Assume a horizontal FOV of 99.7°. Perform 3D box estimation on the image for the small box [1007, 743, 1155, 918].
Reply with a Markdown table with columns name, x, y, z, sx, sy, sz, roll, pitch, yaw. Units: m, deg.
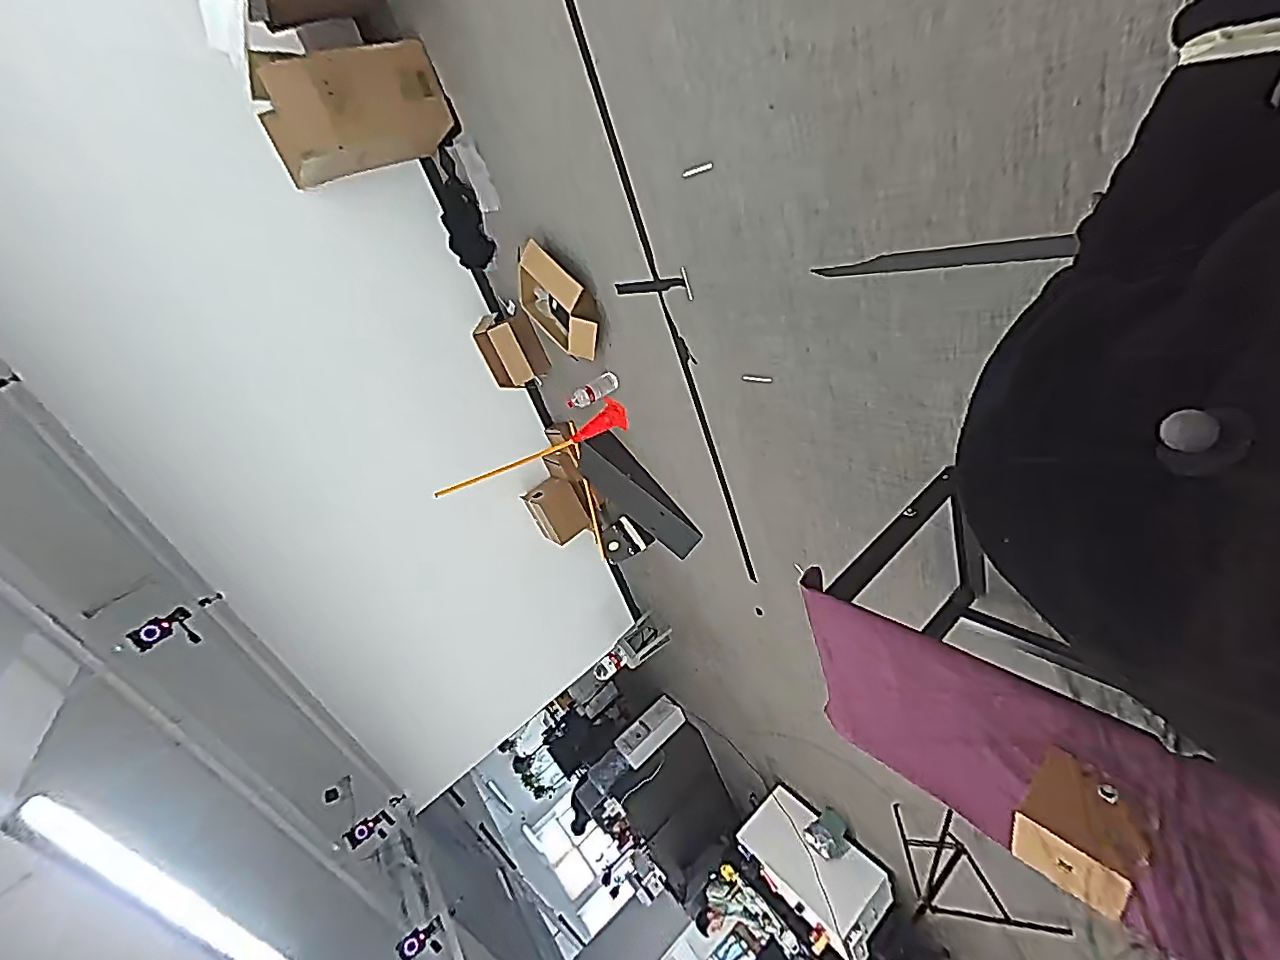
| name | x | y | z | sx | sy | sz | roll | pitch | yaw |
| --- | --- | --- | --- | --- | --- | --- | --- | --- | --- |
| small box | 0.806 | 0.635 | 0.995 | 0.168 | 0.176 | 0.179 | 21 | 139 | 49 |
